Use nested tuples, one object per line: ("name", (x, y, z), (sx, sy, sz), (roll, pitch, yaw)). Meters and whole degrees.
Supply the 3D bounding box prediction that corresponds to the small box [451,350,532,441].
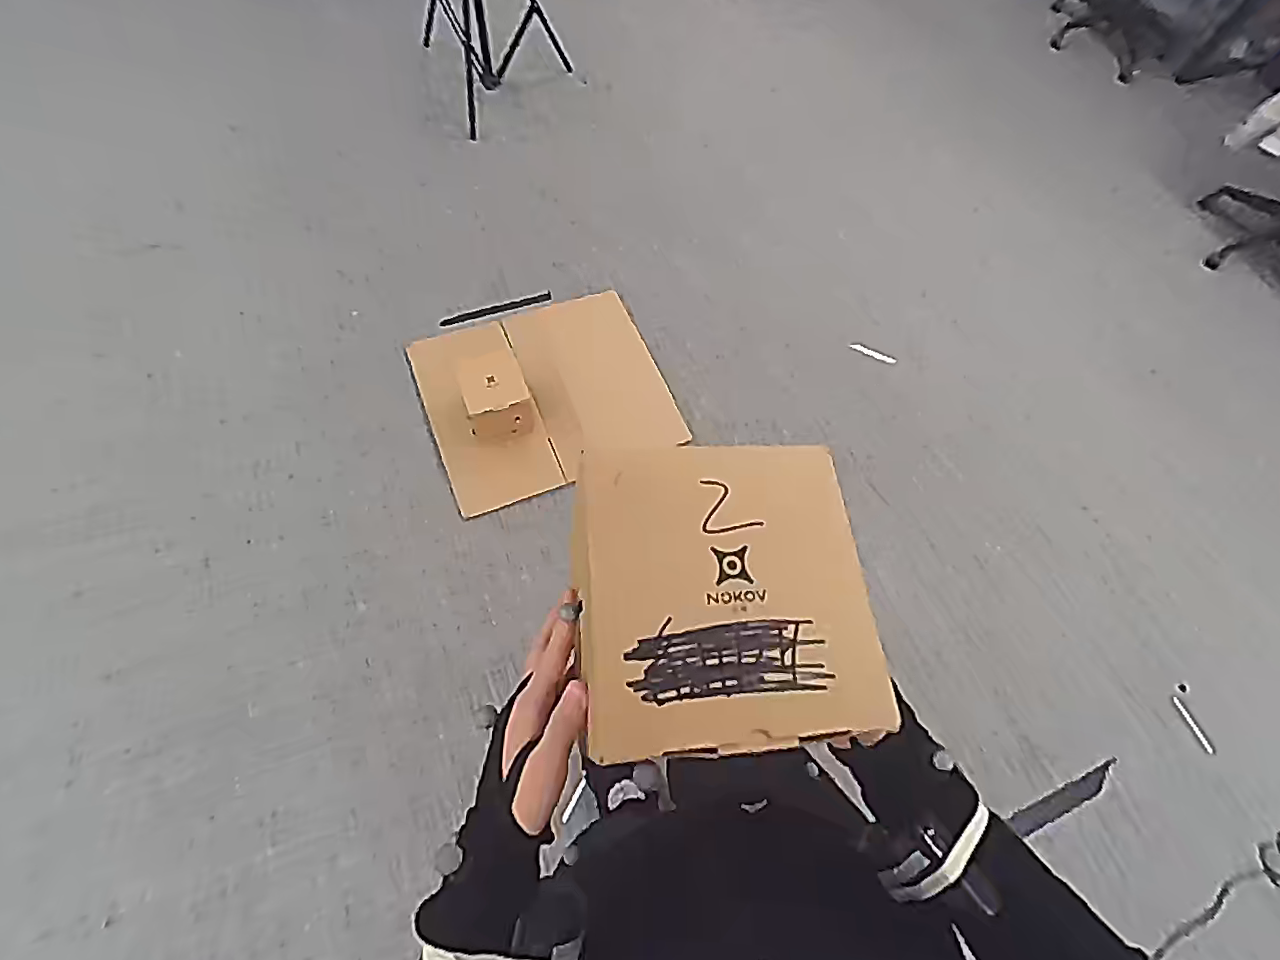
("small box", (-0.408, -0.226, 1.506), (0.168, 0.176, 0.179), (-19, 69, -15))
